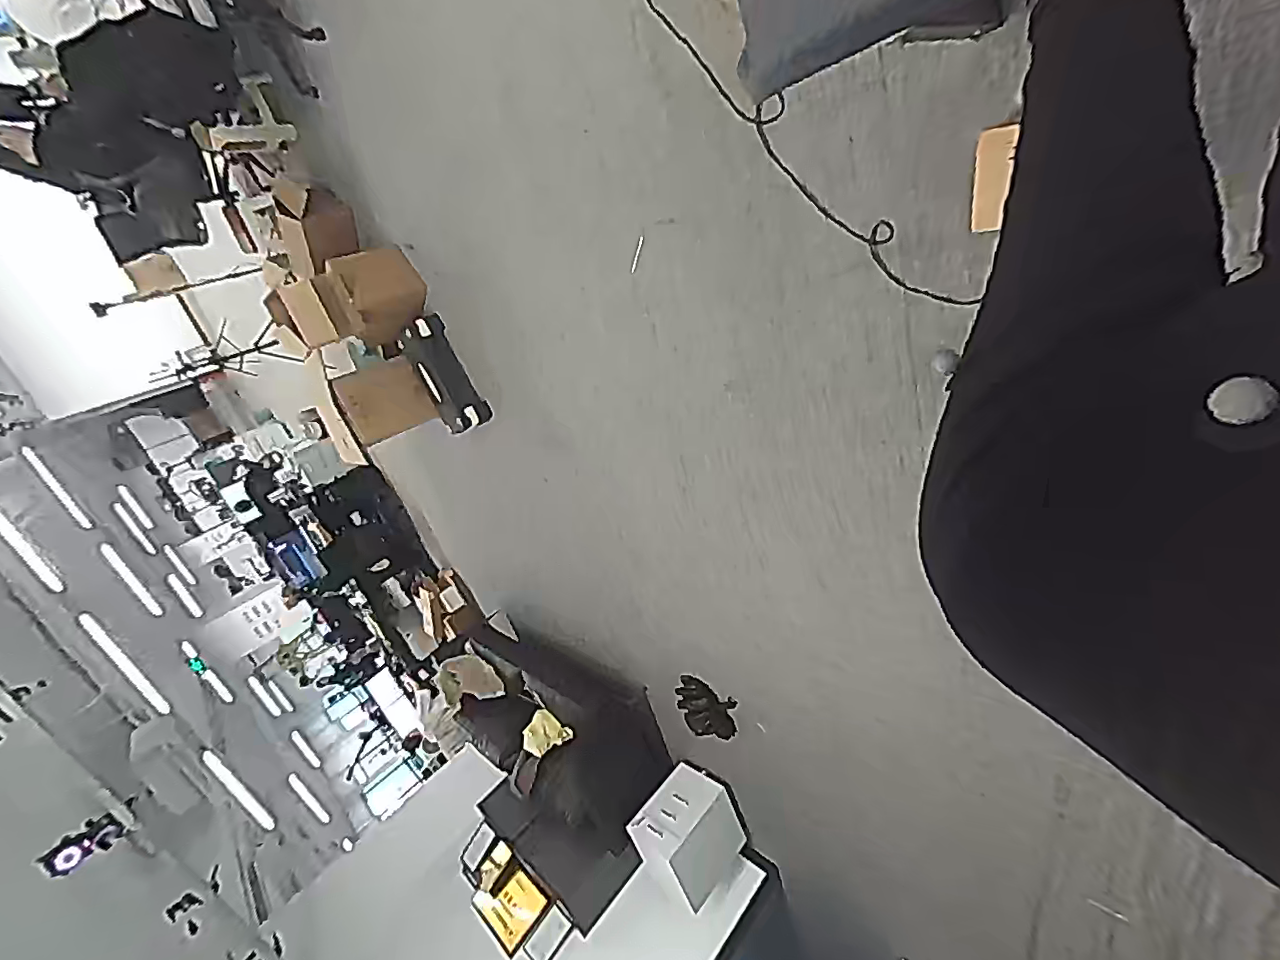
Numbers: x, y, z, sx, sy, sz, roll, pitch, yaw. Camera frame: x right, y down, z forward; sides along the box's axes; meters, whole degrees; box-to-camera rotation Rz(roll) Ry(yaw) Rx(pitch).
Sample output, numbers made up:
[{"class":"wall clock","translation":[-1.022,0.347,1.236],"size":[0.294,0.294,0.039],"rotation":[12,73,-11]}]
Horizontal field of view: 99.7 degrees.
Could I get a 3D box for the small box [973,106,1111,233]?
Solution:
[{"class":"small box","translation":[0.748,-0.578,1.008],"size":[0.168,0.176,0.179],"rotation":[17,131,43]}]
